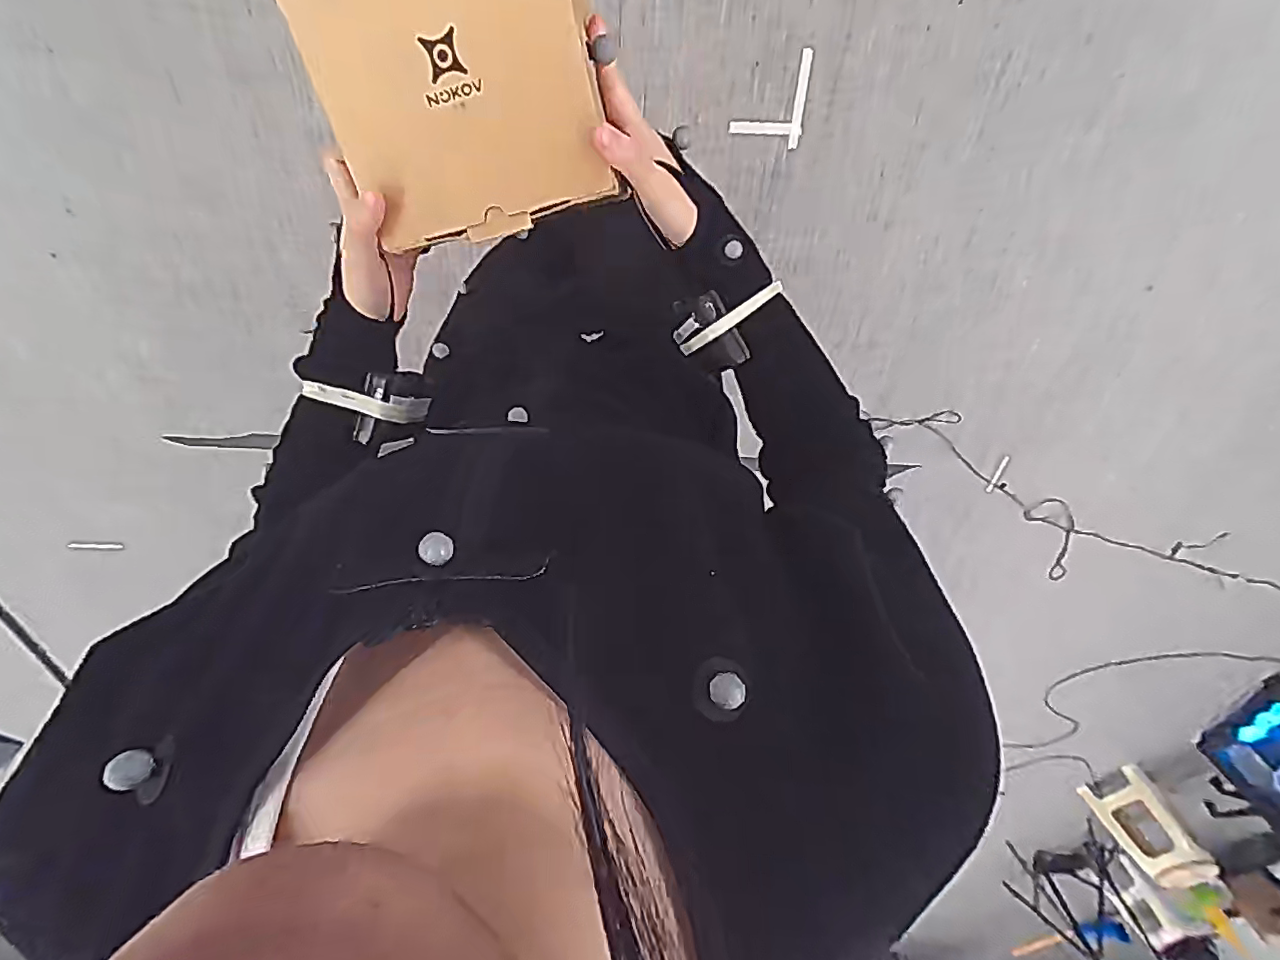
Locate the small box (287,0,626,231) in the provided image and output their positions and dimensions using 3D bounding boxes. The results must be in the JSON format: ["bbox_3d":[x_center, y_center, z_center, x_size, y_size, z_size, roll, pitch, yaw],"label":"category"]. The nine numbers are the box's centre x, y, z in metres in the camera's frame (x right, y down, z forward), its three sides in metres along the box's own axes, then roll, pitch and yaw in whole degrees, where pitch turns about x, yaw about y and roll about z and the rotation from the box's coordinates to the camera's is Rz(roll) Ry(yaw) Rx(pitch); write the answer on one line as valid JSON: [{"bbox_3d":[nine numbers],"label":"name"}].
[{"bbox_3d":[-0.109,-0.288,0.382,0.168,0.176,0.179,-11,117,7],"label":"small box"}]
